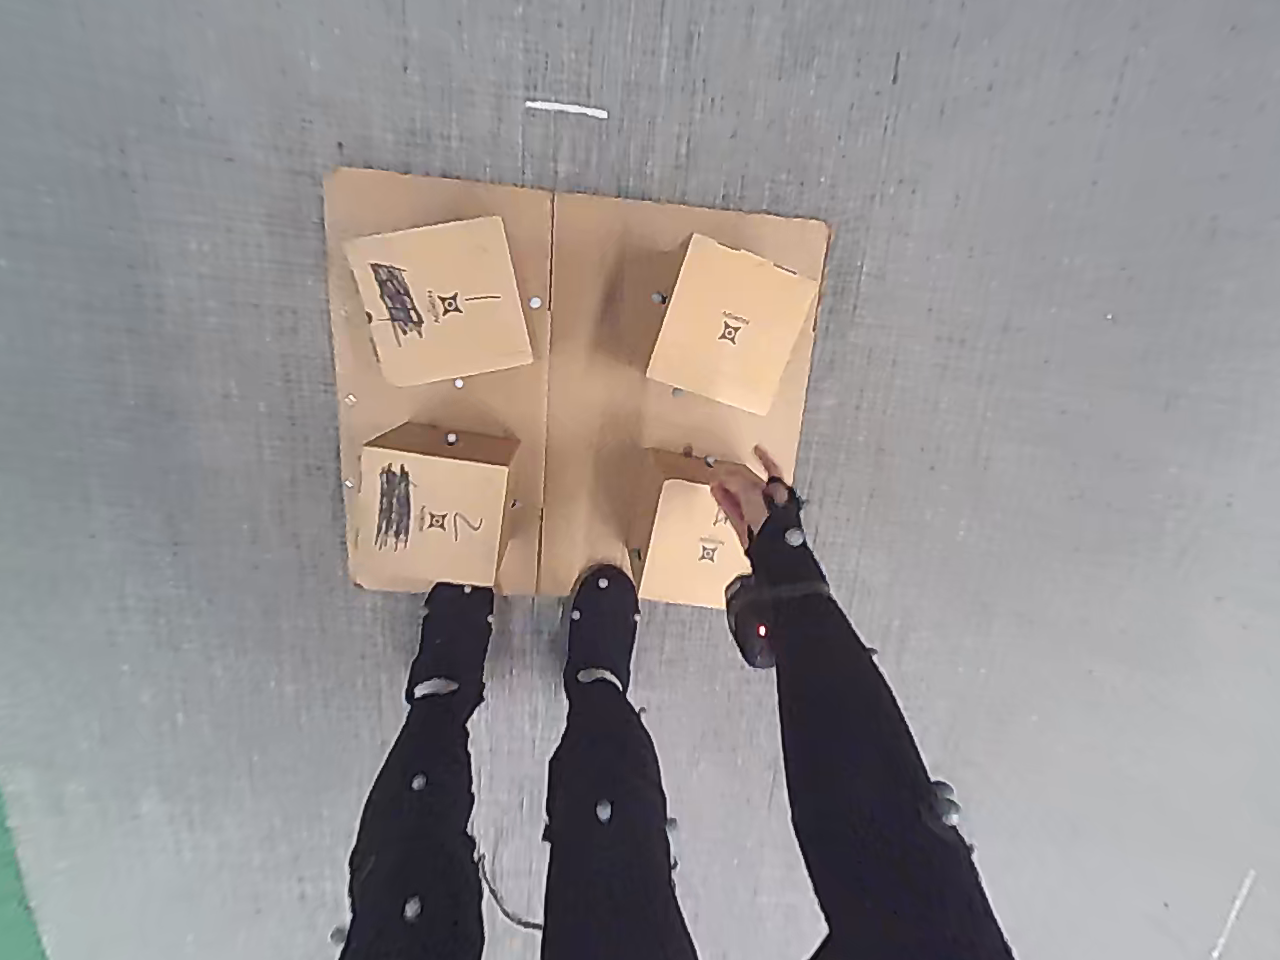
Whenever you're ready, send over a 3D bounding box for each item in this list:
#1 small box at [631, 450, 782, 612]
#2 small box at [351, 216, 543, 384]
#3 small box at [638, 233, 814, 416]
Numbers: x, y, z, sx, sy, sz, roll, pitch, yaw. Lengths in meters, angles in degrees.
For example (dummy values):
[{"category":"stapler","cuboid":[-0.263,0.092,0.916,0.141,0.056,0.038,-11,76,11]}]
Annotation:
[{"category":"small box","cuboid":[0.084,0.068,0.797,0.168,0.176,0.179,10,103,-9]},{"category":"small box","cuboid":[-0.229,-0.220,0.693,0.179,0.176,0.168,-11,105,-5]},{"category":"small box","cuboid":[0.101,-0.202,0.733,0.168,0.176,0.179,17,101,-10]}]
